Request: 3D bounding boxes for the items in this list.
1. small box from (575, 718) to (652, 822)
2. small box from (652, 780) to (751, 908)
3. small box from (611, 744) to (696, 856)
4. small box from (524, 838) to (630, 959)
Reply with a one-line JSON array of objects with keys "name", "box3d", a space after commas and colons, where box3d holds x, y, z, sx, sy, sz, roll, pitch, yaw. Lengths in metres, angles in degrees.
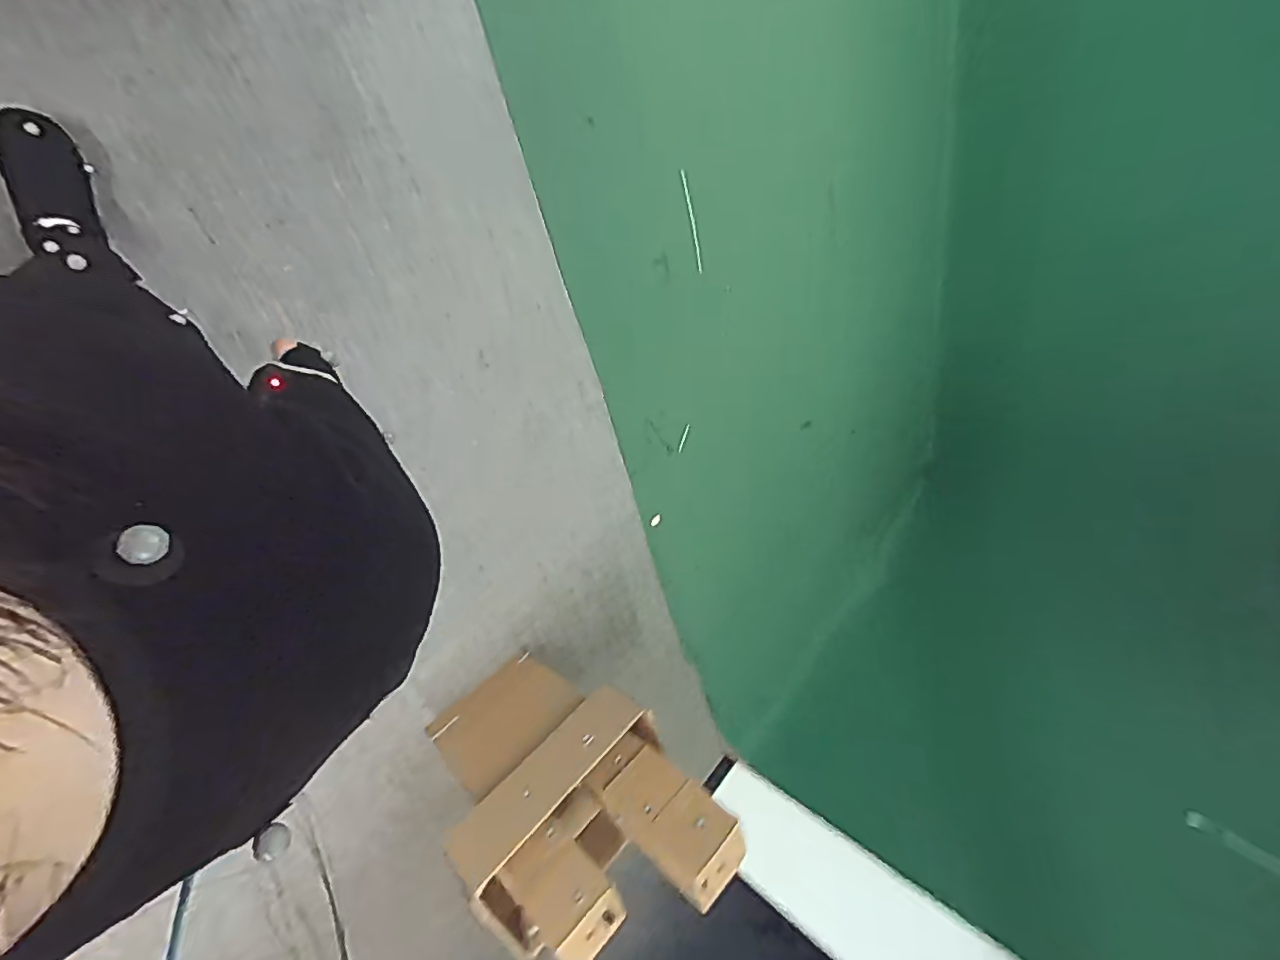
[{"name": "small box", "box3d": [-0.062, 0.851, 1.604, 0.179, 0.176, 0.168, -35, 125, -31]}, {"name": "small box", "box3d": [0.156, 0.908, 1.366, 0.179, 0.176, 0.168, -35, 124, -32]}, {"name": "small box", "box3d": [0.047, 0.873, 1.484, 0.179, 0.176, 0.168, -34, 124, -31]}, {"name": "small box", "box3d": [-0.154, 1.042, 1.333, 0.179, 0.176, 0.168, -34, 125, -32]}]
